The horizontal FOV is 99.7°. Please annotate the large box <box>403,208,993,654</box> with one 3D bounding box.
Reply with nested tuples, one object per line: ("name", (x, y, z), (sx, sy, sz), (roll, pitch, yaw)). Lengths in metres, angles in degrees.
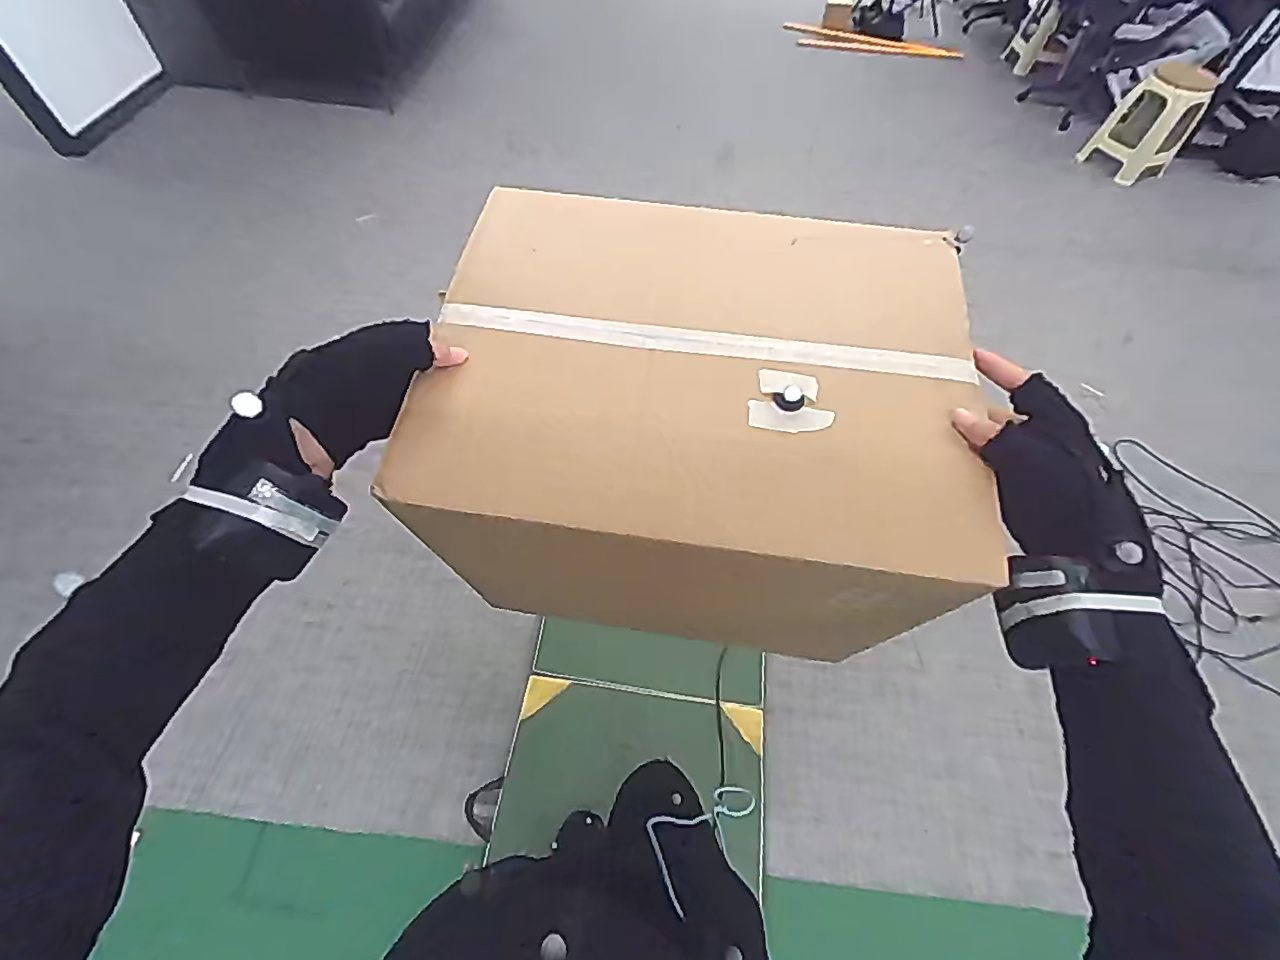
("large box", (0.049, -0.028, 0.557), (0.408, 0.320, 0.320), (8, 63, 3))
